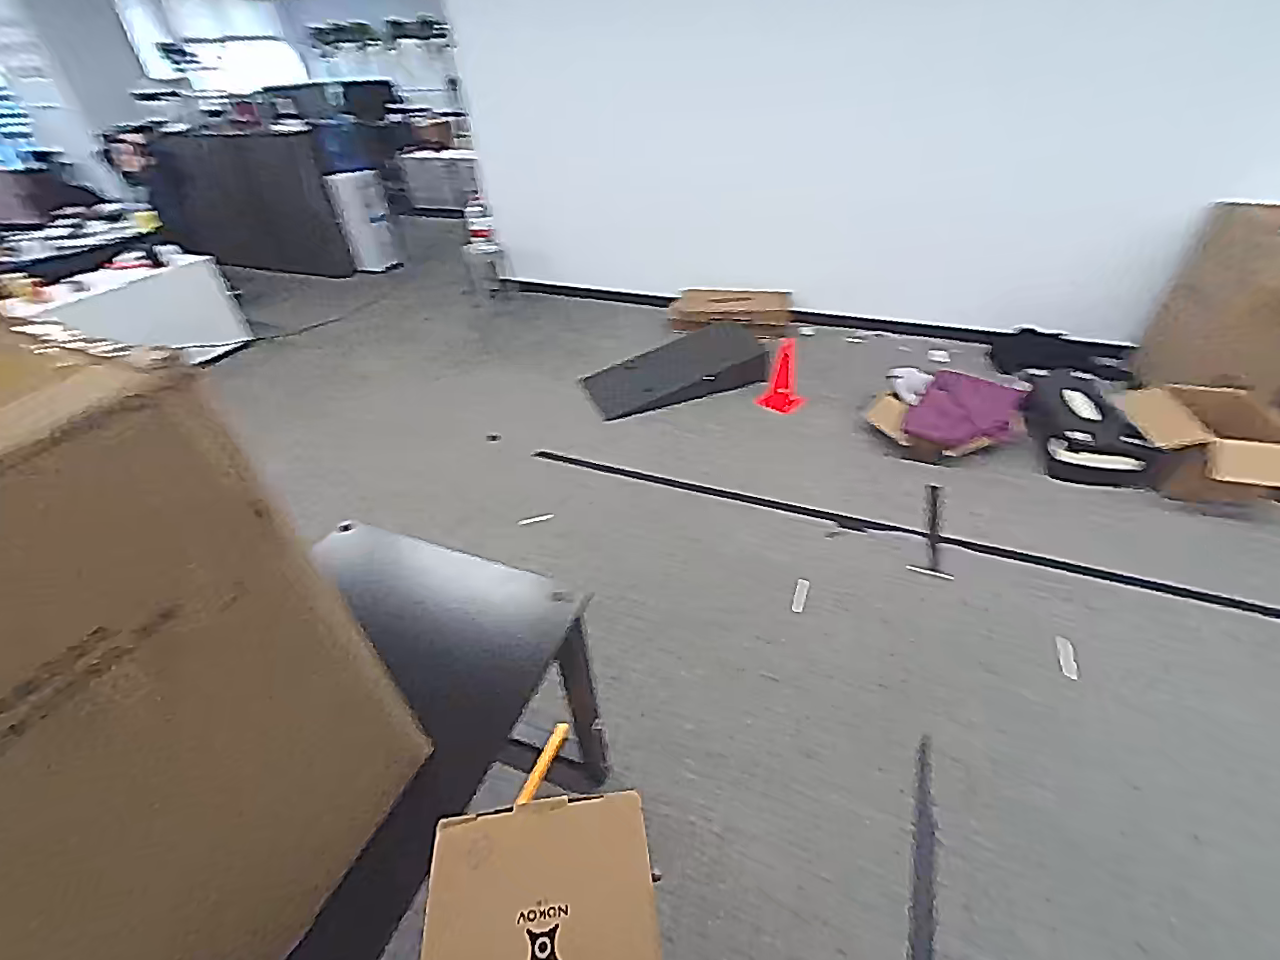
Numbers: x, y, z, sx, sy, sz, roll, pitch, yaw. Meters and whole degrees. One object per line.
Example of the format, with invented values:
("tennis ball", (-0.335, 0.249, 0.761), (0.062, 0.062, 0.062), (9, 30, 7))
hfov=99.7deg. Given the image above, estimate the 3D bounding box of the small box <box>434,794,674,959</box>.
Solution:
("small box", (-0.063, 0.381, 0.428), (0.168, 0.176, 0.179), (-3, 42, -6))
